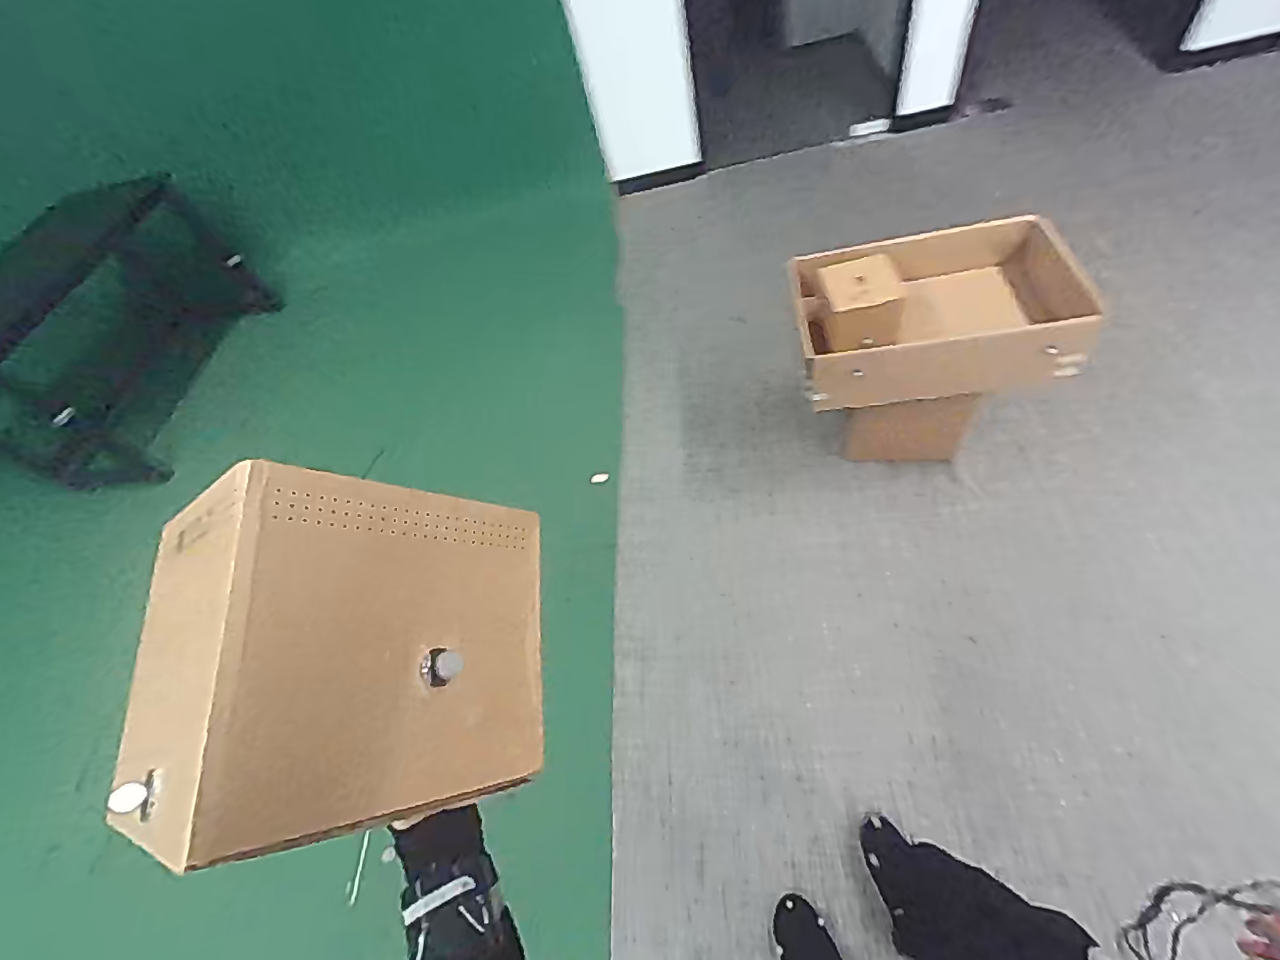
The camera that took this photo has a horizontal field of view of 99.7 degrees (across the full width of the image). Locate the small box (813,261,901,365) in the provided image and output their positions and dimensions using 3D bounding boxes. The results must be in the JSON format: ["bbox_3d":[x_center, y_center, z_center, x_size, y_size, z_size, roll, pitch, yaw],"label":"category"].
[{"bbox_3d":[0.546,-0.424,1.386,0.168,0.176,0.179,-10,54,9],"label":"small box"}]

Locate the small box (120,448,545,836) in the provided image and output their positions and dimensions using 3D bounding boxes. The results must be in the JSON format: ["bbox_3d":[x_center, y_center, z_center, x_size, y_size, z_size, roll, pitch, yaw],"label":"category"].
[{"bbox_3d":[-0.177,0.090,0.338,0.168,0.179,0.176,-19,67,37],"label":"small box"}]
